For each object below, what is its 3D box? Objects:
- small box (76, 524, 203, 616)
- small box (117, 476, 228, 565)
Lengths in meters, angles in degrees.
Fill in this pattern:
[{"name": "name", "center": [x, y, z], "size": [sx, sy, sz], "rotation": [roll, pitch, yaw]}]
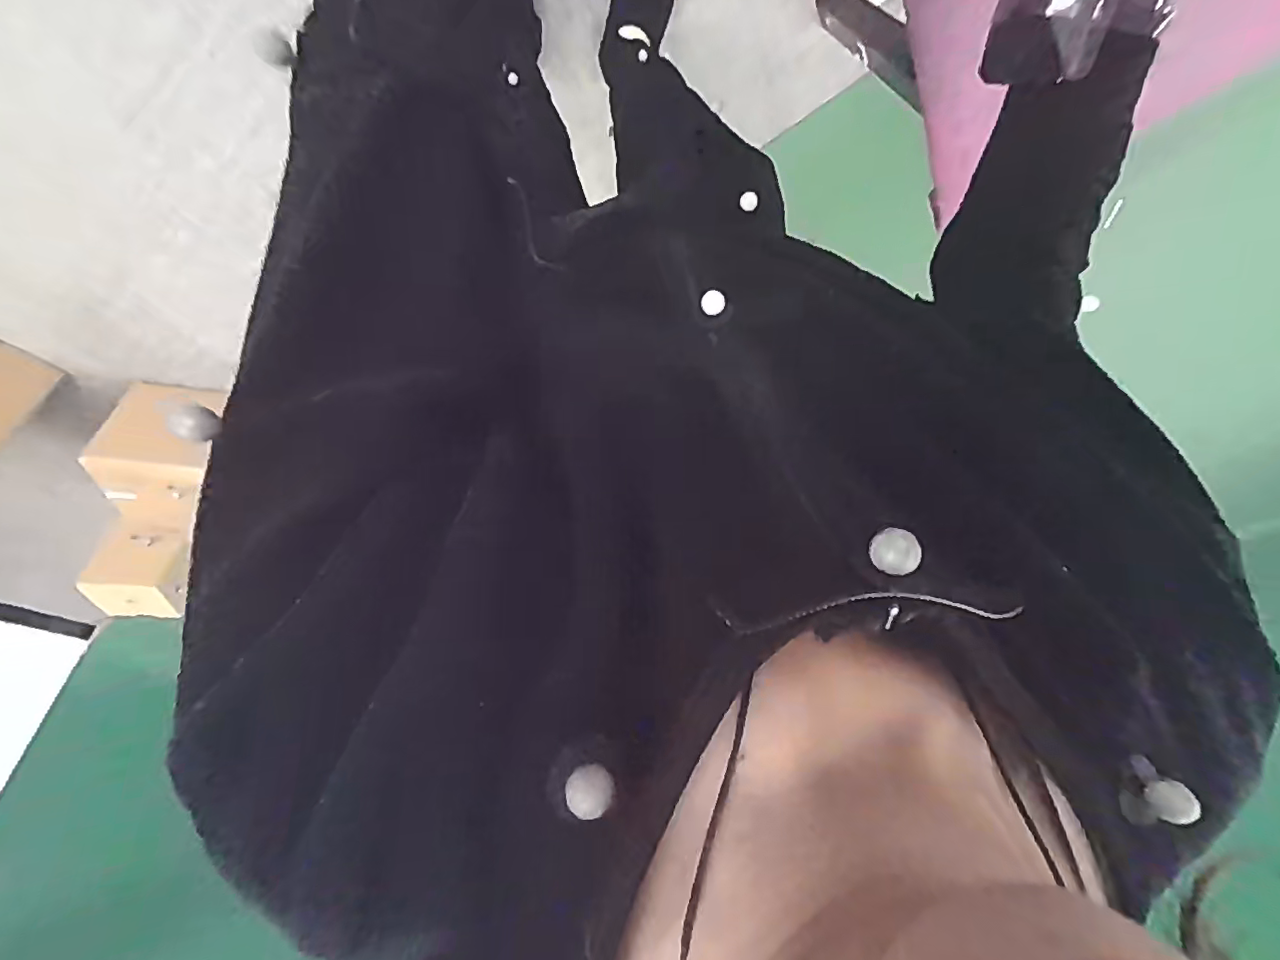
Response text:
[{"name": "small box", "center": [-1.290, 0.238, 1.414], "size": [0.168, 0.176, 0.179], "rotation": [7, 140, -15]}, {"name": "small box", "center": [-1.299, 0.115, 1.521], "size": [0.168, 0.176, 0.179], "rotation": [9, 139, -17]}]
